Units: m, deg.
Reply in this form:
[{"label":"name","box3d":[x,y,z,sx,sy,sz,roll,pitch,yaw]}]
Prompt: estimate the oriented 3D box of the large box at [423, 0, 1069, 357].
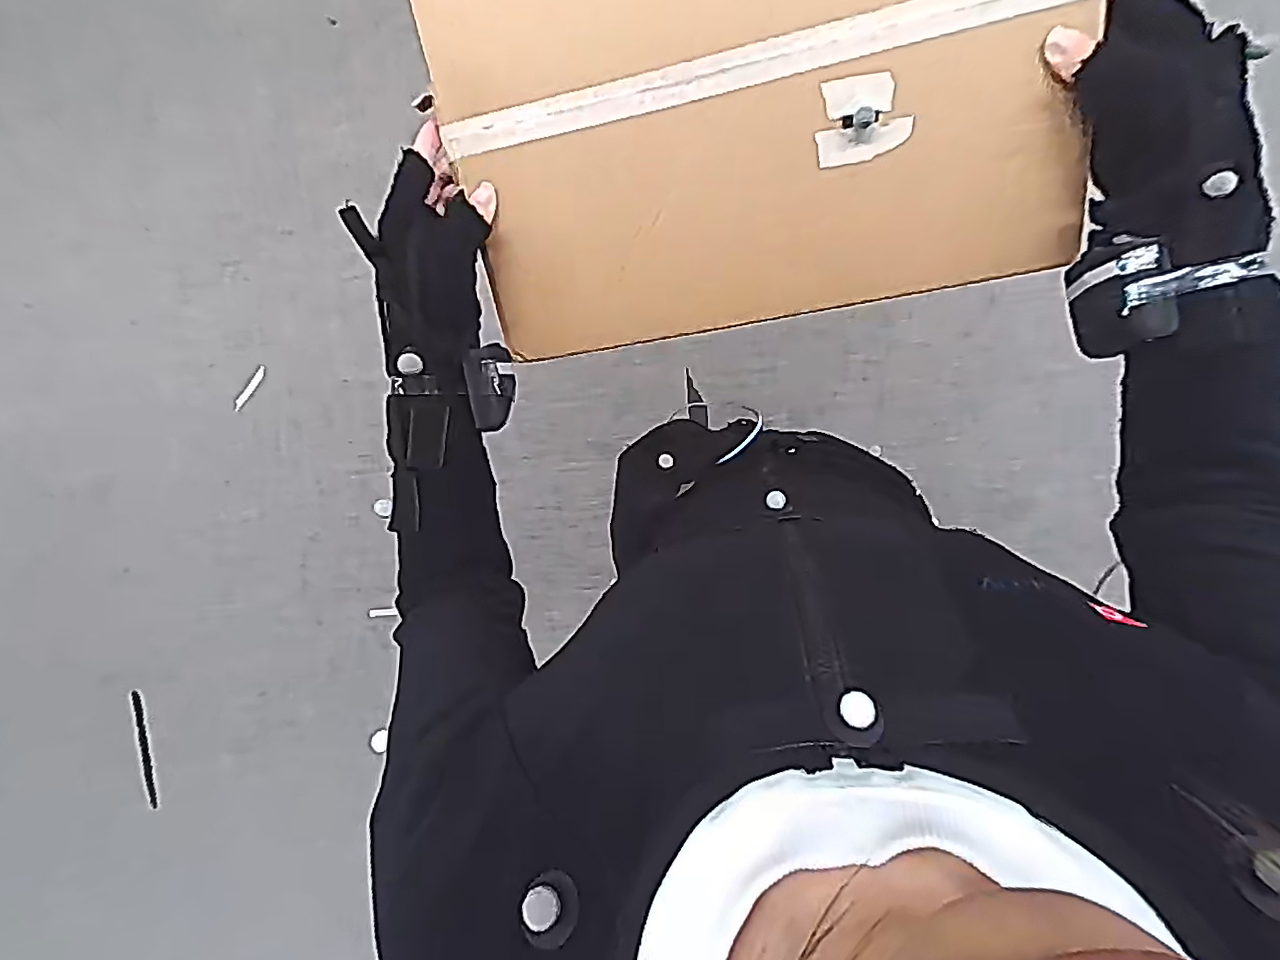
[{"label":"large box","box3d":[0.079,-0.325,0.495,0.408,0.320,0.320,-9,112,9]}]
